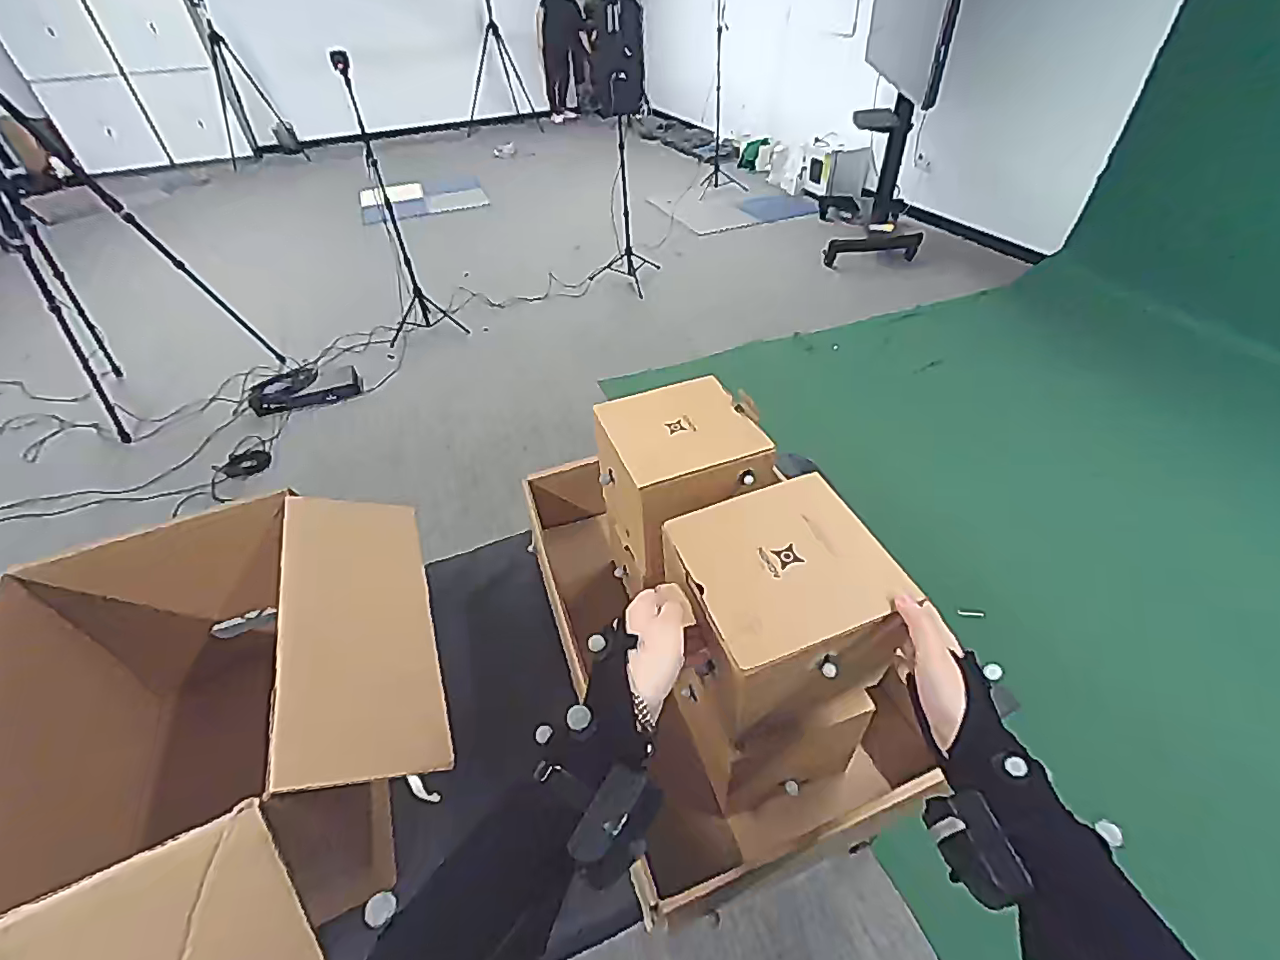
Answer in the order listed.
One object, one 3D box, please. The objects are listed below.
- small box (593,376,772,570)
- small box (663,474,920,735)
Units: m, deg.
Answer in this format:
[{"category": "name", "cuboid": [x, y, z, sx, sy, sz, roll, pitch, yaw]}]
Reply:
[{"category": "small box", "cuboid": [0.051, -0.007, 0.714, 0.179, 0.176, 0.168, -17, 46, -14]}, {"category": "small box", "cuboid": [0.135, 0.127, 0.547, 0.179, 0.176, 0.168, -17, 48, -12]}]
